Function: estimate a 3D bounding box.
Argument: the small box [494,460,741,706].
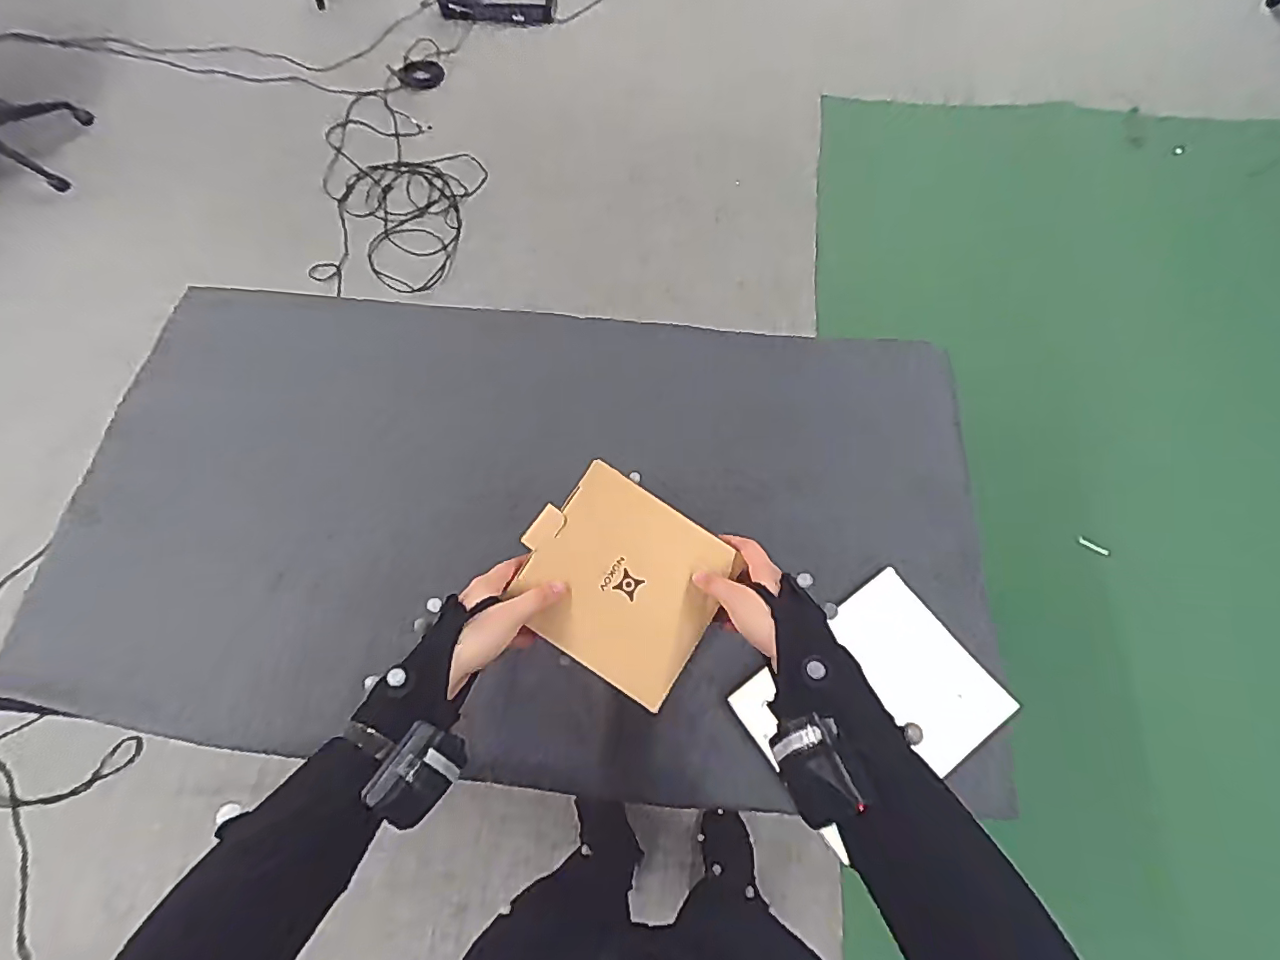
[{"bbox_3d":[-0.021,0.104,0.578,0.179,0.176,0.168,32,80,4],"label":"small box"}]
